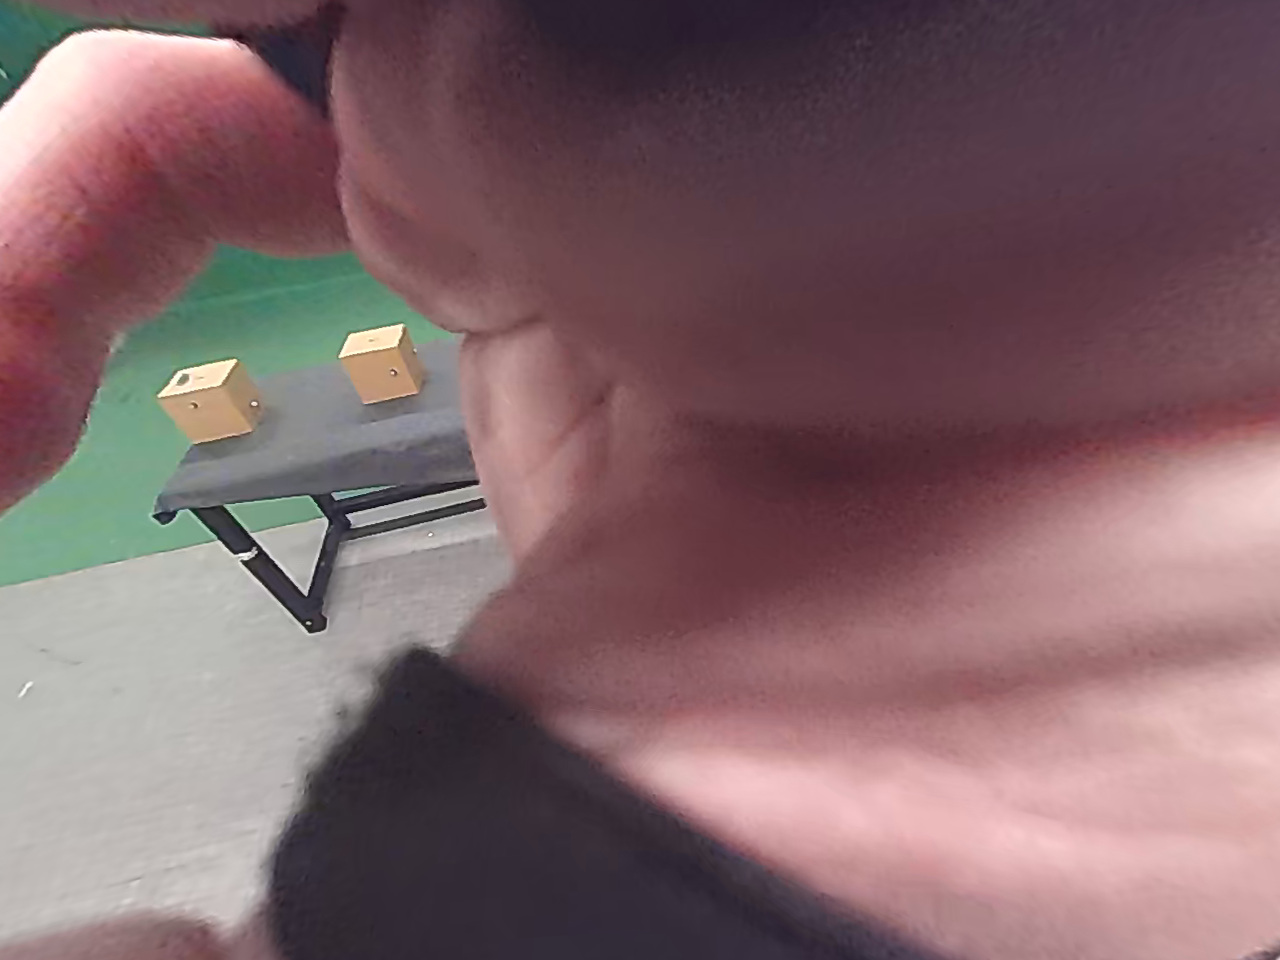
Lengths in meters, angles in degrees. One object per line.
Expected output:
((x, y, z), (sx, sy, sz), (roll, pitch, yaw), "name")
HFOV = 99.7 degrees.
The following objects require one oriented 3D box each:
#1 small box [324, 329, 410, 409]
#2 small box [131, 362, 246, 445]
((-0.830, -0.341, 1.666), (0.179, 0.176, 0.168), (-13, 40, -6), "small box")
((-1.313, -0.222, 1.587), (0.179, 0.176, 0.168), (-13, 41, -9), "small box")
